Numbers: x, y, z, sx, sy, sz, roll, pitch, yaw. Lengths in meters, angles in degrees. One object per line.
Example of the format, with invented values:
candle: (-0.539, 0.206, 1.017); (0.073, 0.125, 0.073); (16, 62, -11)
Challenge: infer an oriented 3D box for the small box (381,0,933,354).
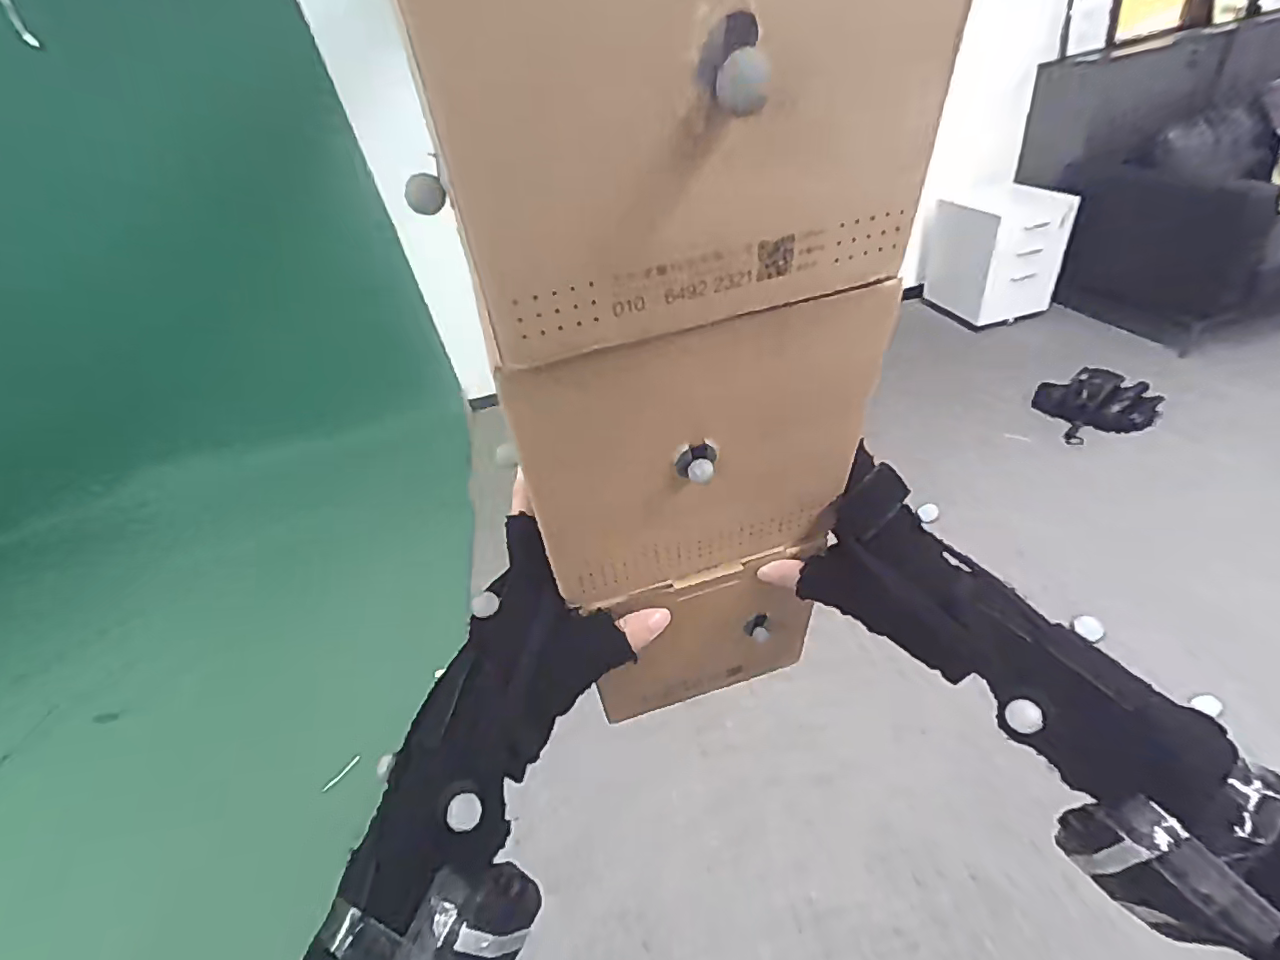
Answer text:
small box: (-0.006, -0.166, 0.215); (0.168, 0.176, 0.179); (-17, 47, -11)

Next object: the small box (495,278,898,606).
small box: (0.012, -0.053, 0.332); (0.179, 0.176, 0.168); (-17, 47, -12)

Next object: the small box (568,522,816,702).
small box: (0.023, 0.061, 0.449); (0.168, 0.176, 0.179); (-15, 45, -8)
